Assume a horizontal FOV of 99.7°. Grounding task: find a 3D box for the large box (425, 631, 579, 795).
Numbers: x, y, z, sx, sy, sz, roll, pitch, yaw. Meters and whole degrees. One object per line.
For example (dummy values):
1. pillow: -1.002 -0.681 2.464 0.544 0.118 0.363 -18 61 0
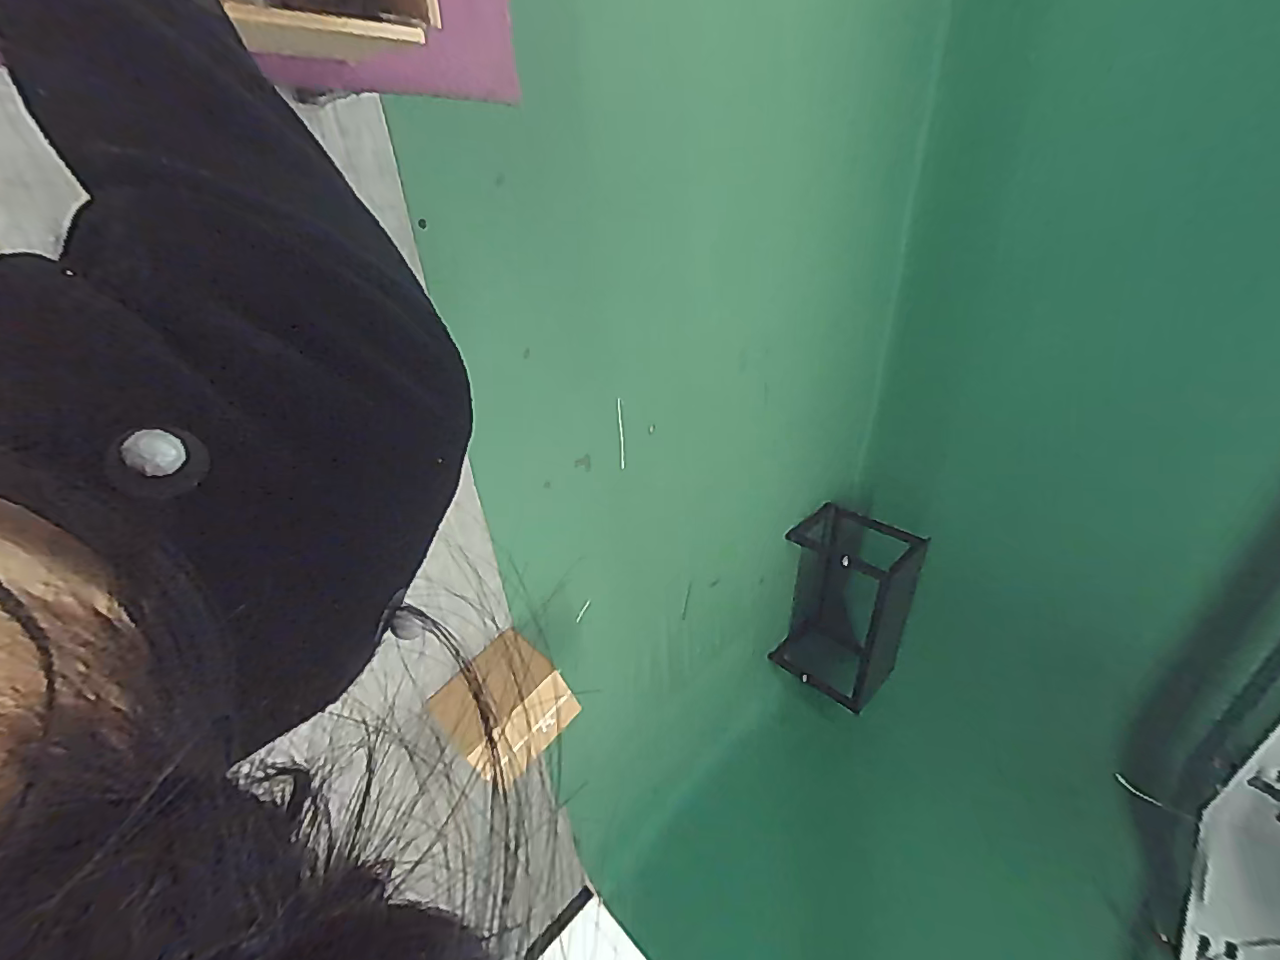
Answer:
1. large box: -0.512 0.863 2.034 0.408 0.320 0.320 -42 136 -27
